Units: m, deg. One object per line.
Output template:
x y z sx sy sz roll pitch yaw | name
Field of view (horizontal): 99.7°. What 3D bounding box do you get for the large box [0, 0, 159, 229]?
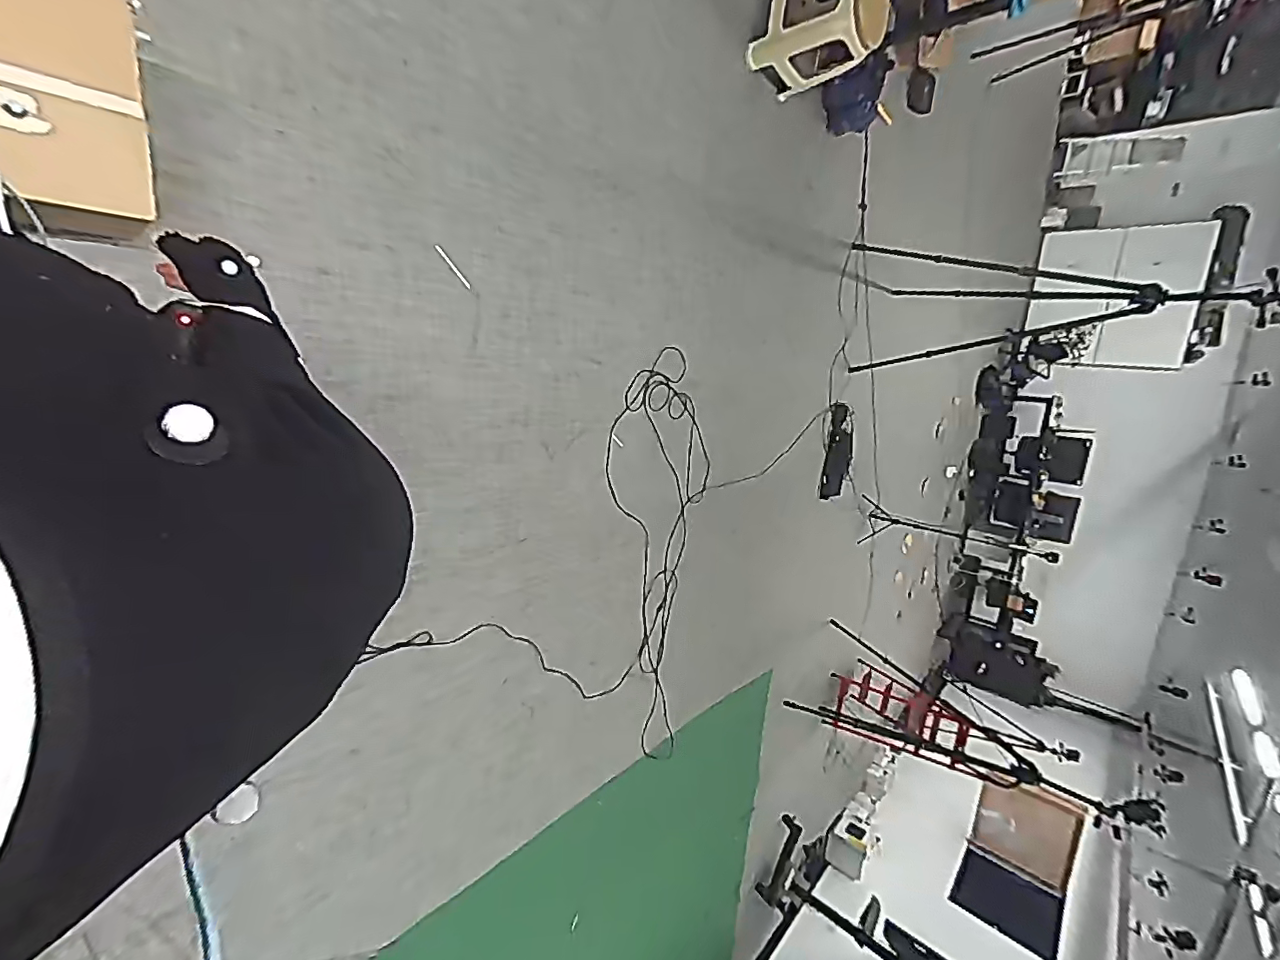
-1.007 -0.583 0.786 0.408 0.320 0.320 -10 109 -47 | large box
